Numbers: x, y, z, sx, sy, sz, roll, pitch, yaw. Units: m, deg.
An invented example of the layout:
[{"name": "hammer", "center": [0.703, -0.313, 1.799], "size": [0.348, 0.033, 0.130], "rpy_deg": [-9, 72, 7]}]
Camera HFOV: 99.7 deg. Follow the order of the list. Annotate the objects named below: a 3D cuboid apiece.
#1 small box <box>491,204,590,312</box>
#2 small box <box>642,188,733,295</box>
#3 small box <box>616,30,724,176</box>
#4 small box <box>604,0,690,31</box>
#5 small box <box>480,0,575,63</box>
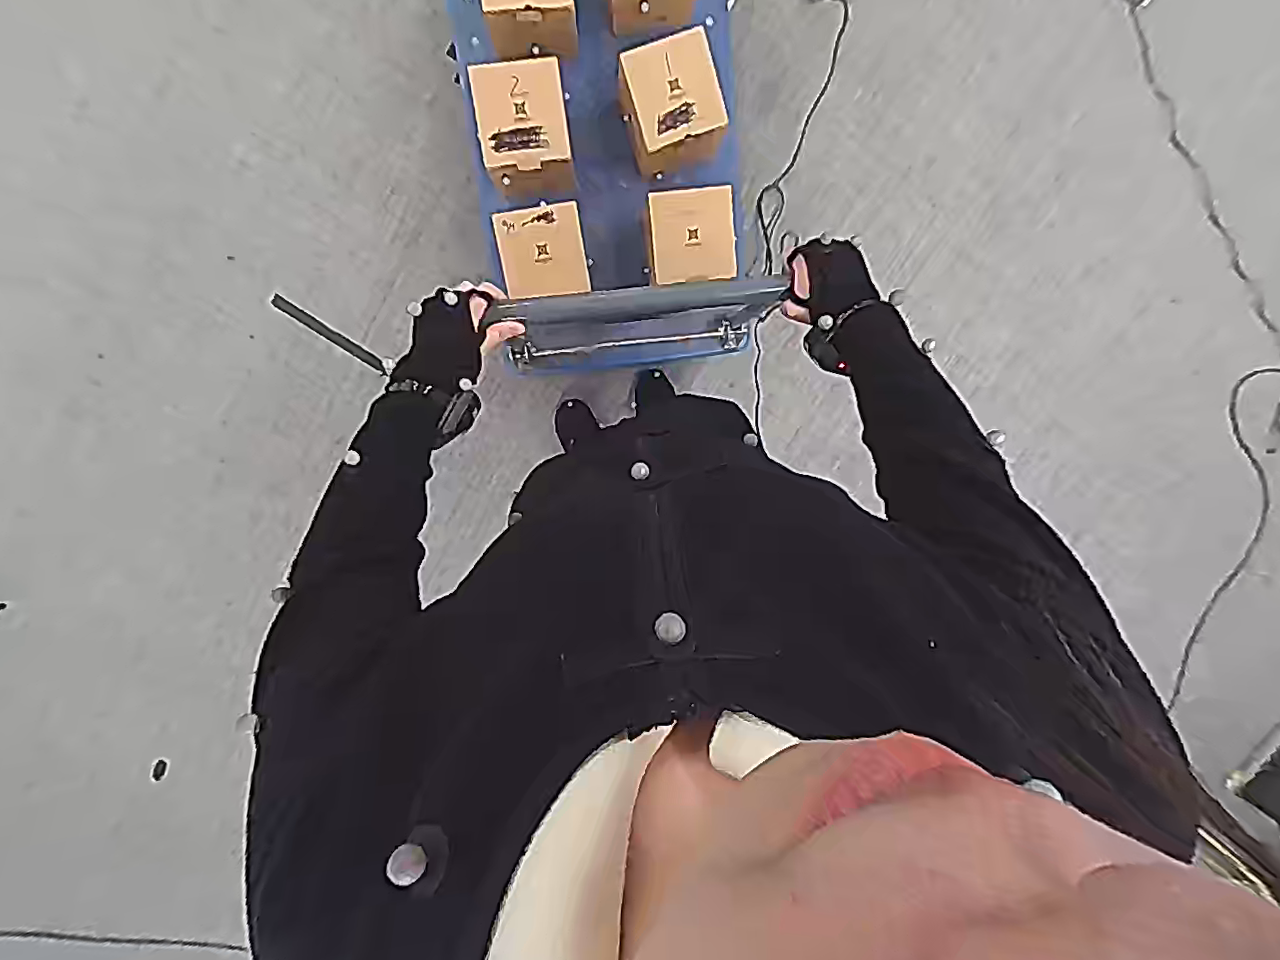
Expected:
[{"name": "small box", "center": [-0.198, -0.455, 1.135], "size": [0.168, 0.176, 0.179], "rpy_deg": [-10, 102, -3]}, {"name": "small box", "center": [0.097, -0.495, 1.148], "size": [0.168, 0.176, 0.179], "rpy_deg": [-6, 101, -3]}, {"name": "small box", "center": [0.055, -0.744, 1.094], "size": [0.168, 0.176, 0.179], "rpy_deg": [-19, 101, 0]}, {"name": "small box", "center": [0.010, -1.007, 1.038], "size": [0.168, 0.176, 0.179], "rpy_deg": [-10, 102, -2]}, {"name": "small box", "center": [-0.216, -0.943, 1.033], "size": [0.168, 0.176, 0.179], "rpy_deg": [-5, 103, -3]}]
